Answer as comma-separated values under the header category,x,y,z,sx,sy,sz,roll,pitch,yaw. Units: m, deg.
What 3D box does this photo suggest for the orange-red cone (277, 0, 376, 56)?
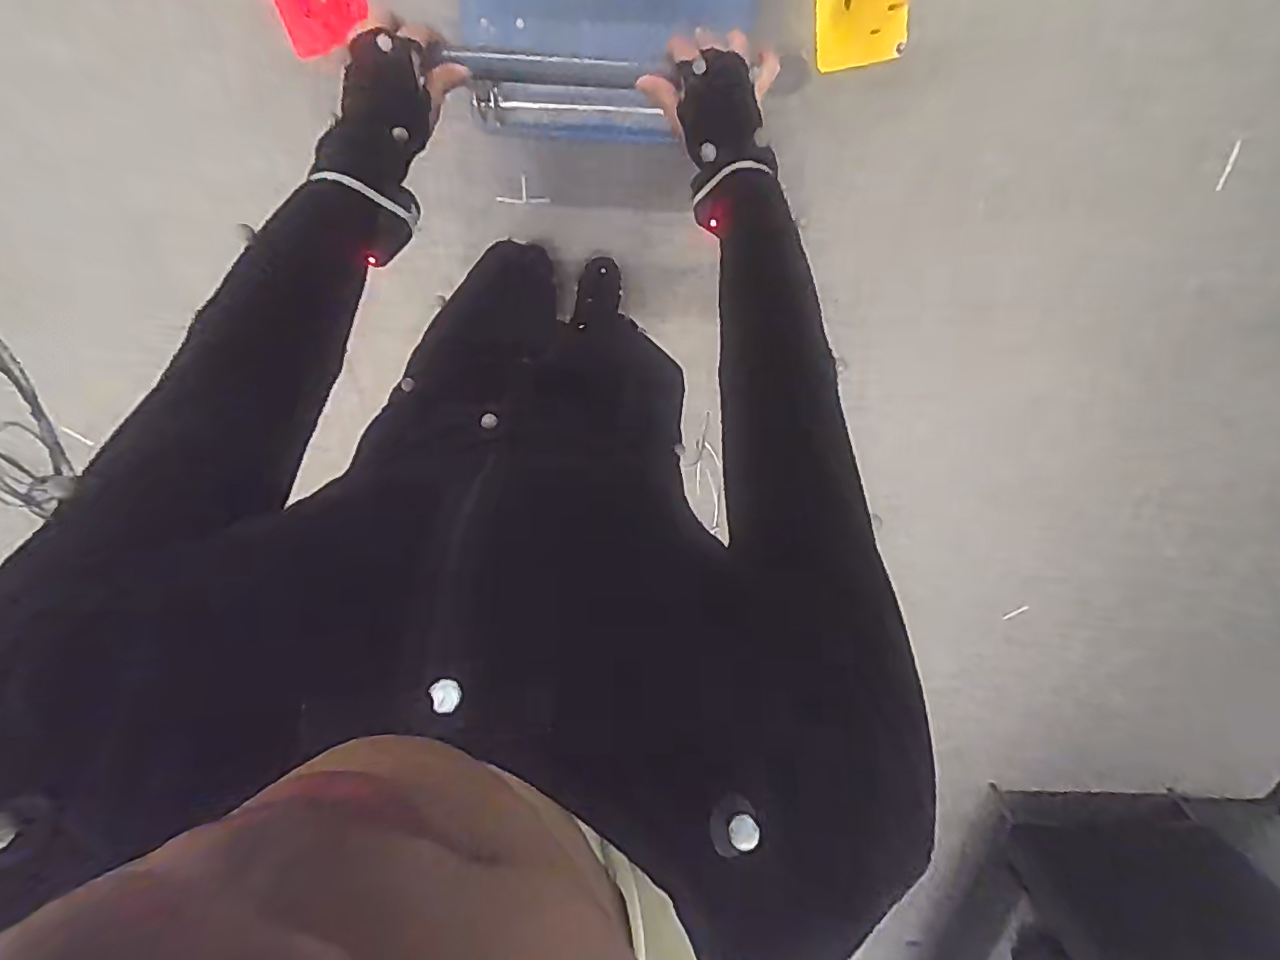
category,x,y,z,sx,sy,sz,roll,pitch,yaw
orange-red cone,-0.697,-0.978,1.018,0.199,0.360,0.198,-11,116,7
